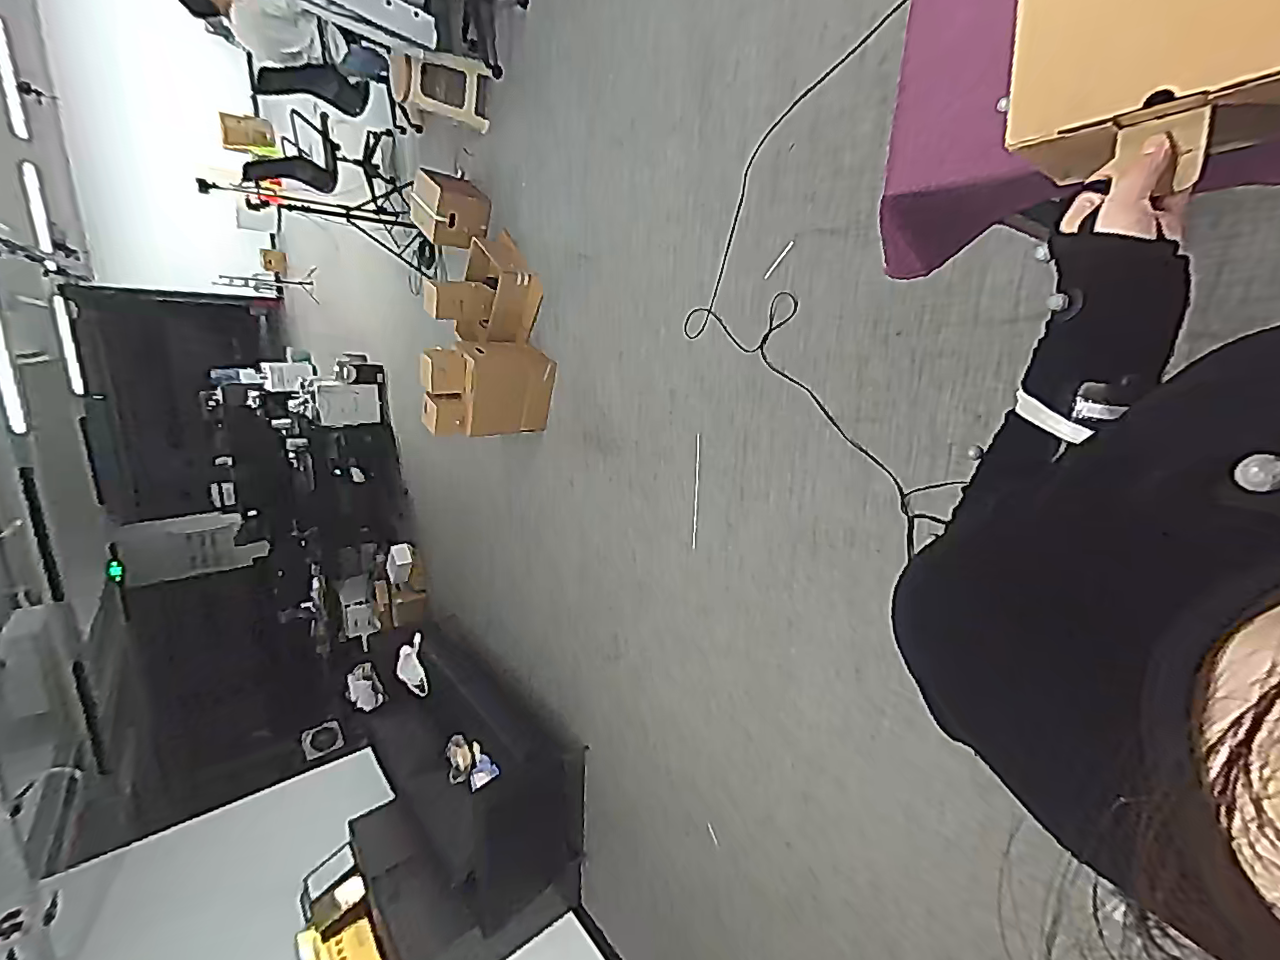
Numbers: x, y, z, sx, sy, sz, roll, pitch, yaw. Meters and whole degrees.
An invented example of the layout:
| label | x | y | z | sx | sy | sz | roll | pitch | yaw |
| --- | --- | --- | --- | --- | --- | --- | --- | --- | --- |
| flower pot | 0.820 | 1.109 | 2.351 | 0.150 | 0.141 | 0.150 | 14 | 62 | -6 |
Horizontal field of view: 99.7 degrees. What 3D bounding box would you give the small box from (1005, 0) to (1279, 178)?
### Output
| label | x | y | z | sx | sy | sz | roll | pitch | yaw |
| --- | --- | --- | --- | --- | --- | --- | --- | --- | --- |
| small box | 0.388 | -0.343 | 0.389 | 0.168 | 0.176 | 0.179 | 11 | 110 | 46 |
